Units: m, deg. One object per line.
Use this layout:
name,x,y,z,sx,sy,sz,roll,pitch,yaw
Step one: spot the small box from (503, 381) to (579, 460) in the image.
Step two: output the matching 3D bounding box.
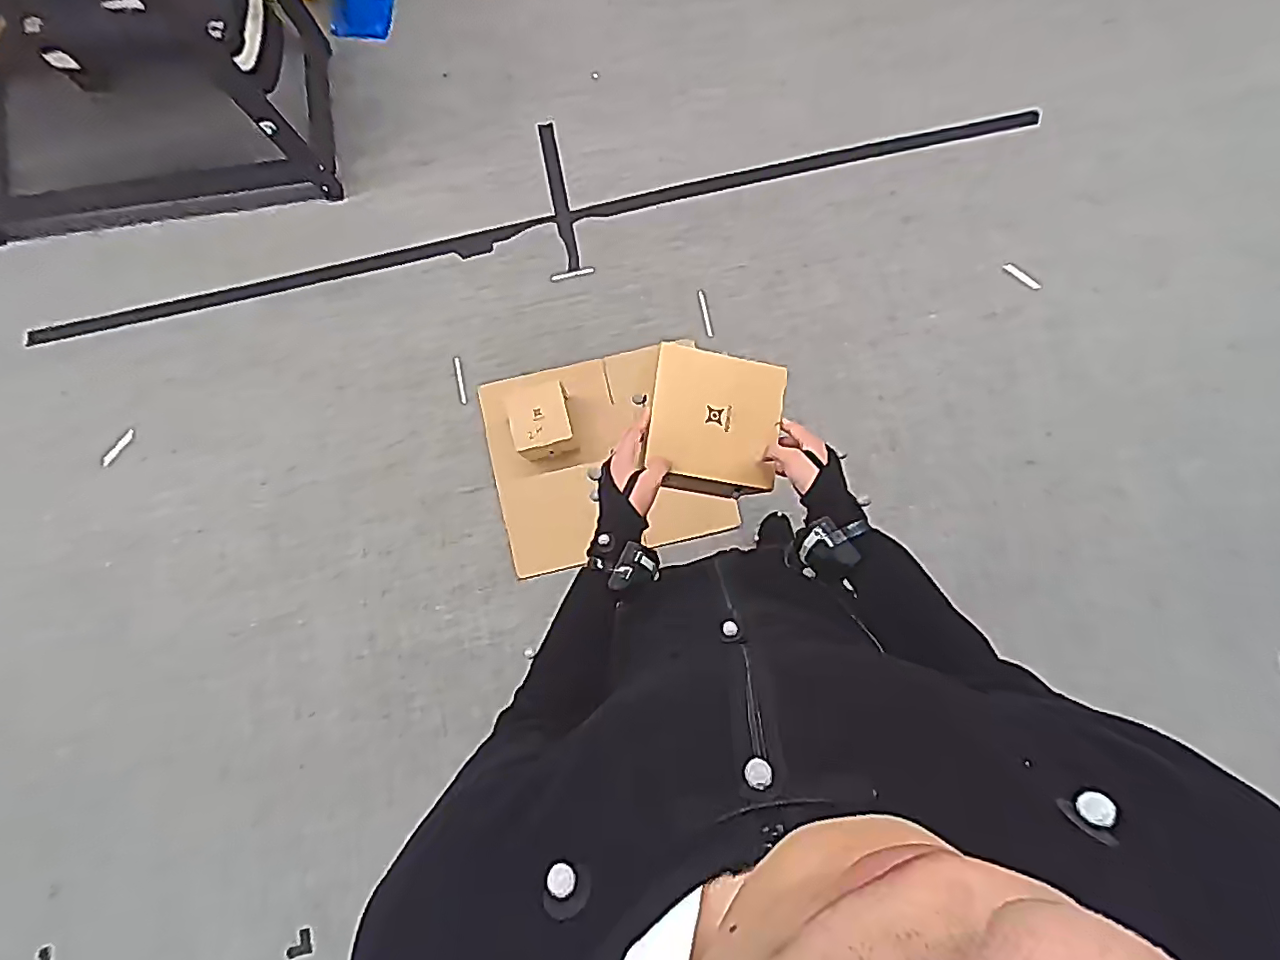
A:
small box,-0.284,-0.168,1.579,0.168,0.176,0.179,-14,84,0

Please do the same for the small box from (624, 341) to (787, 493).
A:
small box,0.081,-0.076,0.761,0.179,0.176,0.168,10,84,-10
